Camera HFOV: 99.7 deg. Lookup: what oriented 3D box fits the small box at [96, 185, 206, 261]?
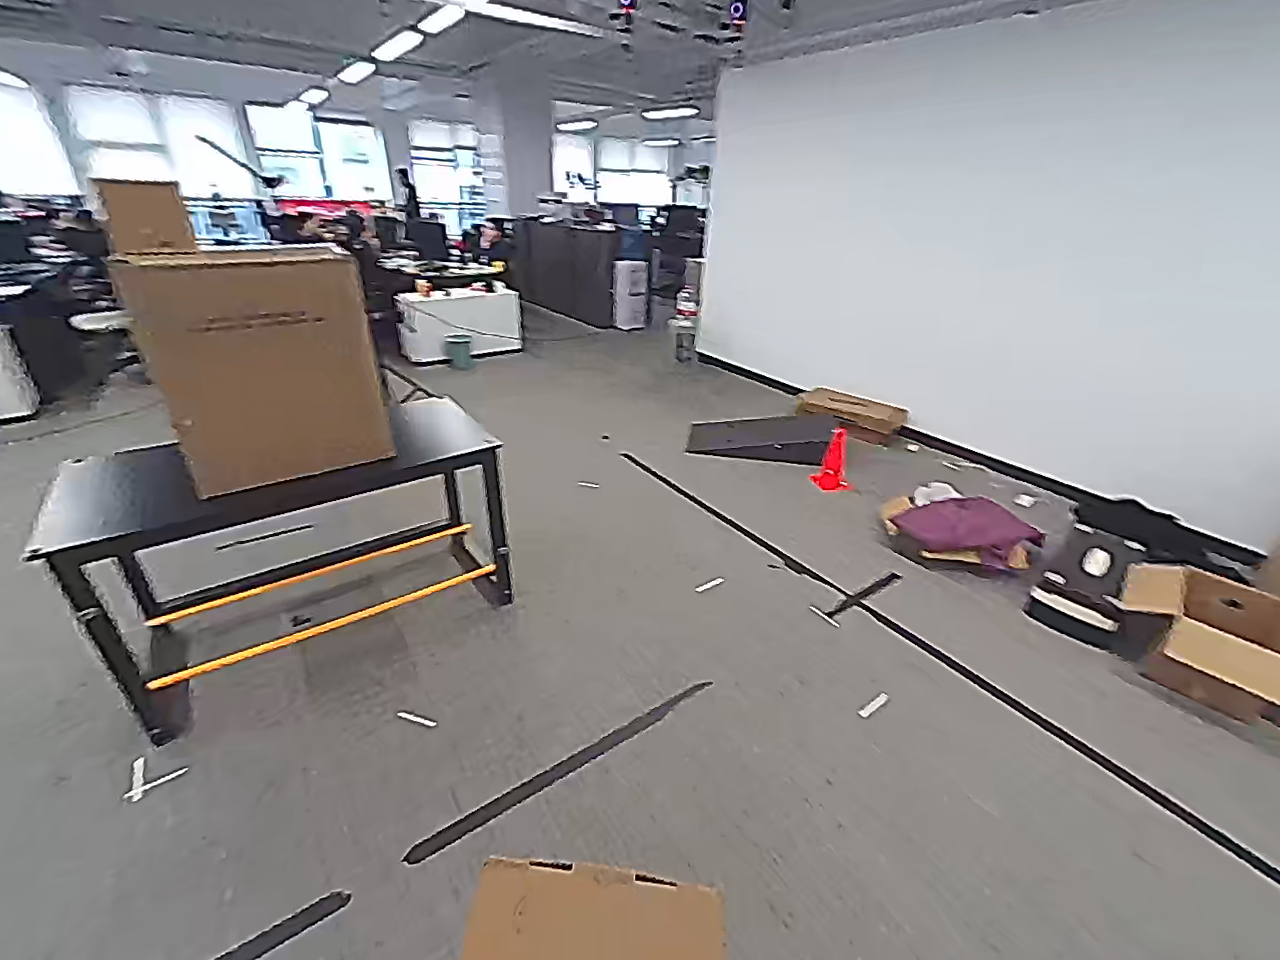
[{"bbox_3d":[-1.275,-0.675,1.425,0.168,0.176,0.179,-16,32,-29],"label":"small box"}]
